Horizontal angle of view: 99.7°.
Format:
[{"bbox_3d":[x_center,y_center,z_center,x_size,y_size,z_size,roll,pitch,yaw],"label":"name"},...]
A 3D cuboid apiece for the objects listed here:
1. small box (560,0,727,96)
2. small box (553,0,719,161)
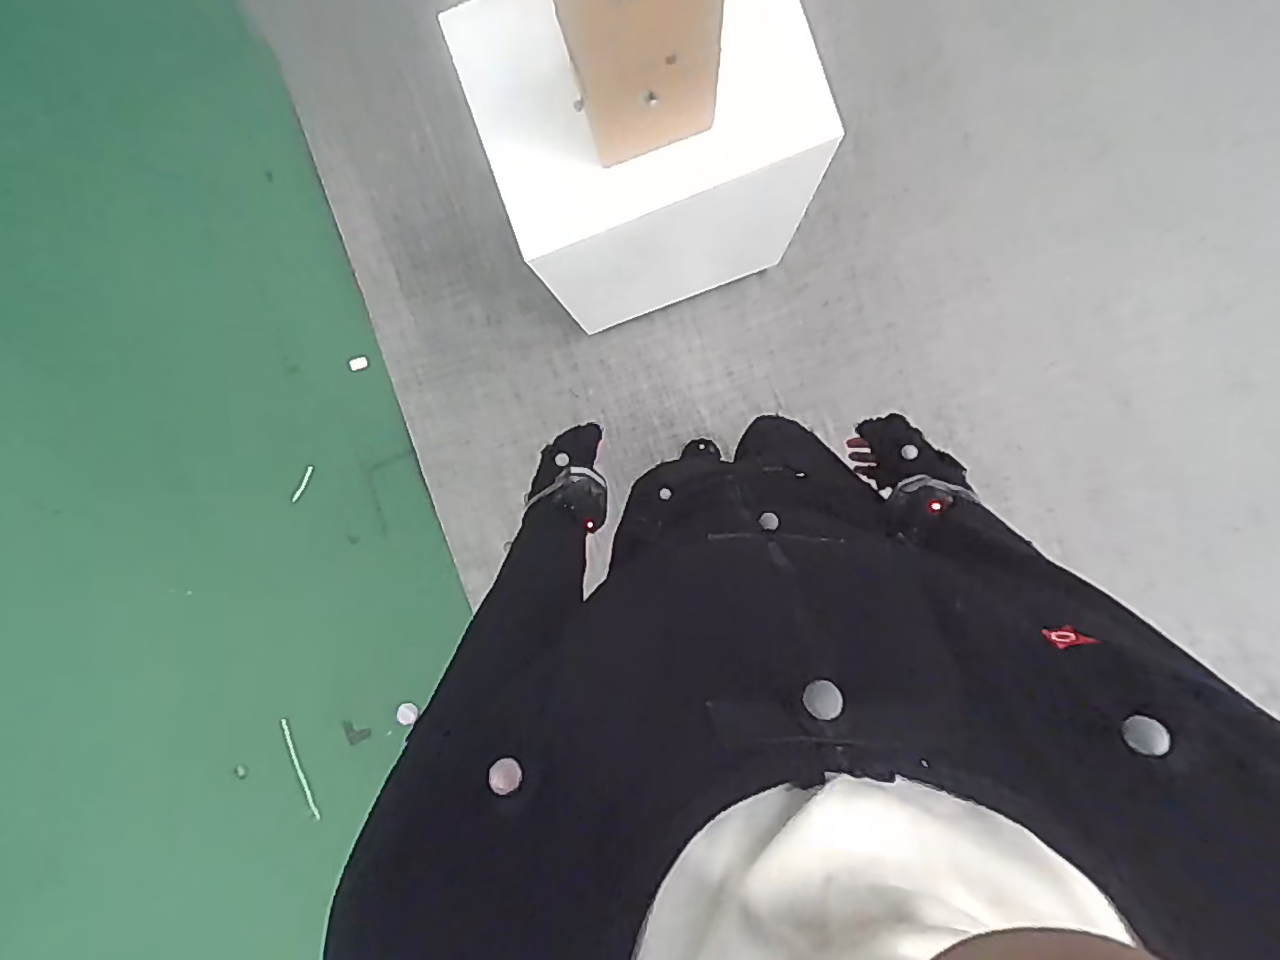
[{"bbox_3d":[-0.011,-0.564,0.570,0.168,0.176,0.179,-19,93,5],"label":"small box"},{"bbox_3d":[-0.002,-0.573,0.731,0.179,0.176,0.168,-18,93,5],"label":"small box"}]
